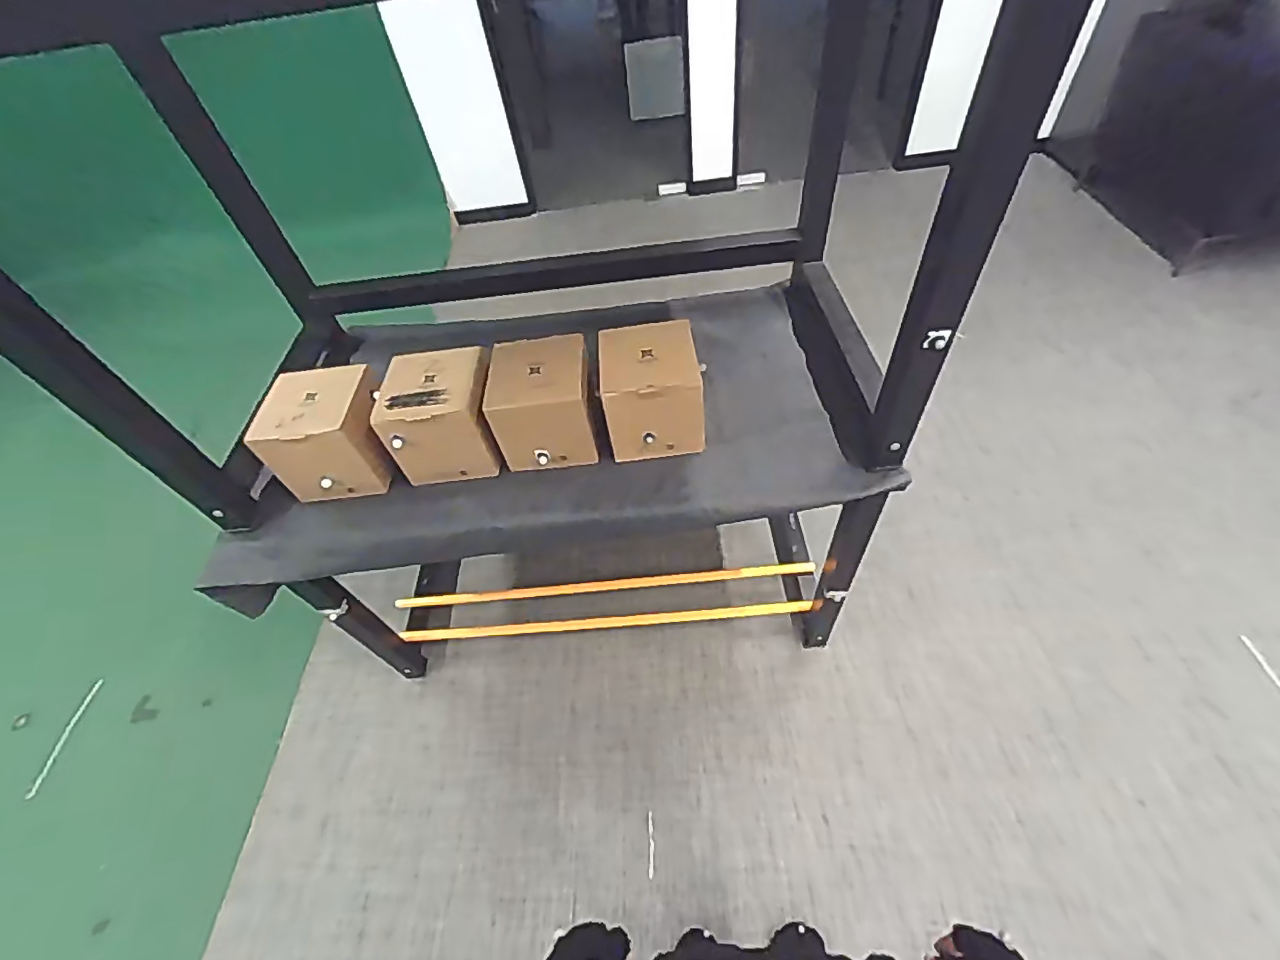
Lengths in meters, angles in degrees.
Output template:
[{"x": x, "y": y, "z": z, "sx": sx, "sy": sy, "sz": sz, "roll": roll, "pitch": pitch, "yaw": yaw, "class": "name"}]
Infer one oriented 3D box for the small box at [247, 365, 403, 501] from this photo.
[{"x": -0.559, "y": -0.084, "z": 0.991, "sx": 0.168, "sy": 0.176, "sz": 0.179, "roll": -6, "pitch": 50, "yaw": 2, "class": "small box"}]
